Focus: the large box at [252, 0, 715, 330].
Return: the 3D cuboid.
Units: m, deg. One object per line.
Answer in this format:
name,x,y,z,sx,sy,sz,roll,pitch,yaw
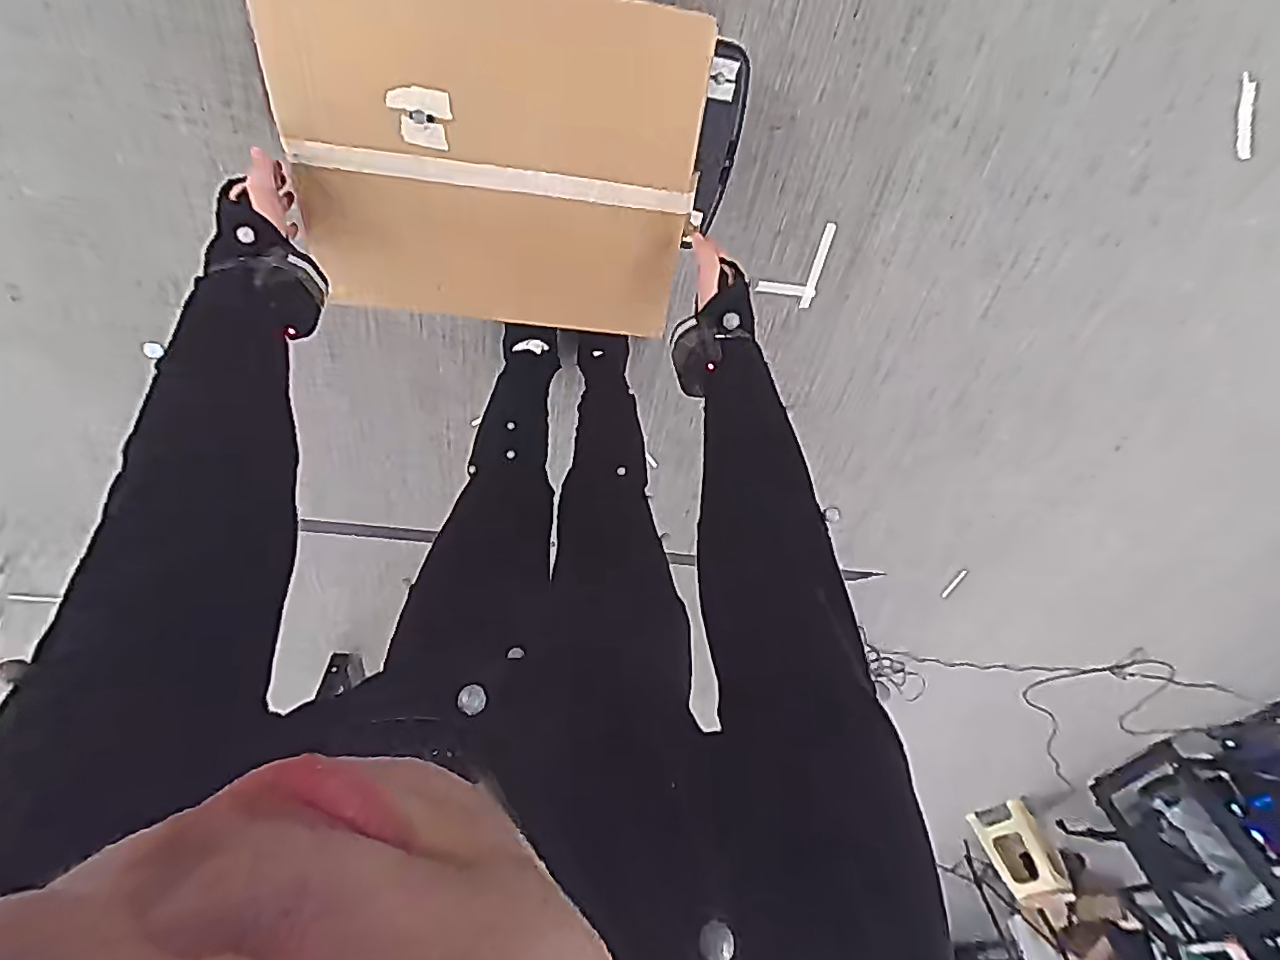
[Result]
large box,-0.152,-0.409,0.660,0.408,0.320,0.320,5,129,-7
